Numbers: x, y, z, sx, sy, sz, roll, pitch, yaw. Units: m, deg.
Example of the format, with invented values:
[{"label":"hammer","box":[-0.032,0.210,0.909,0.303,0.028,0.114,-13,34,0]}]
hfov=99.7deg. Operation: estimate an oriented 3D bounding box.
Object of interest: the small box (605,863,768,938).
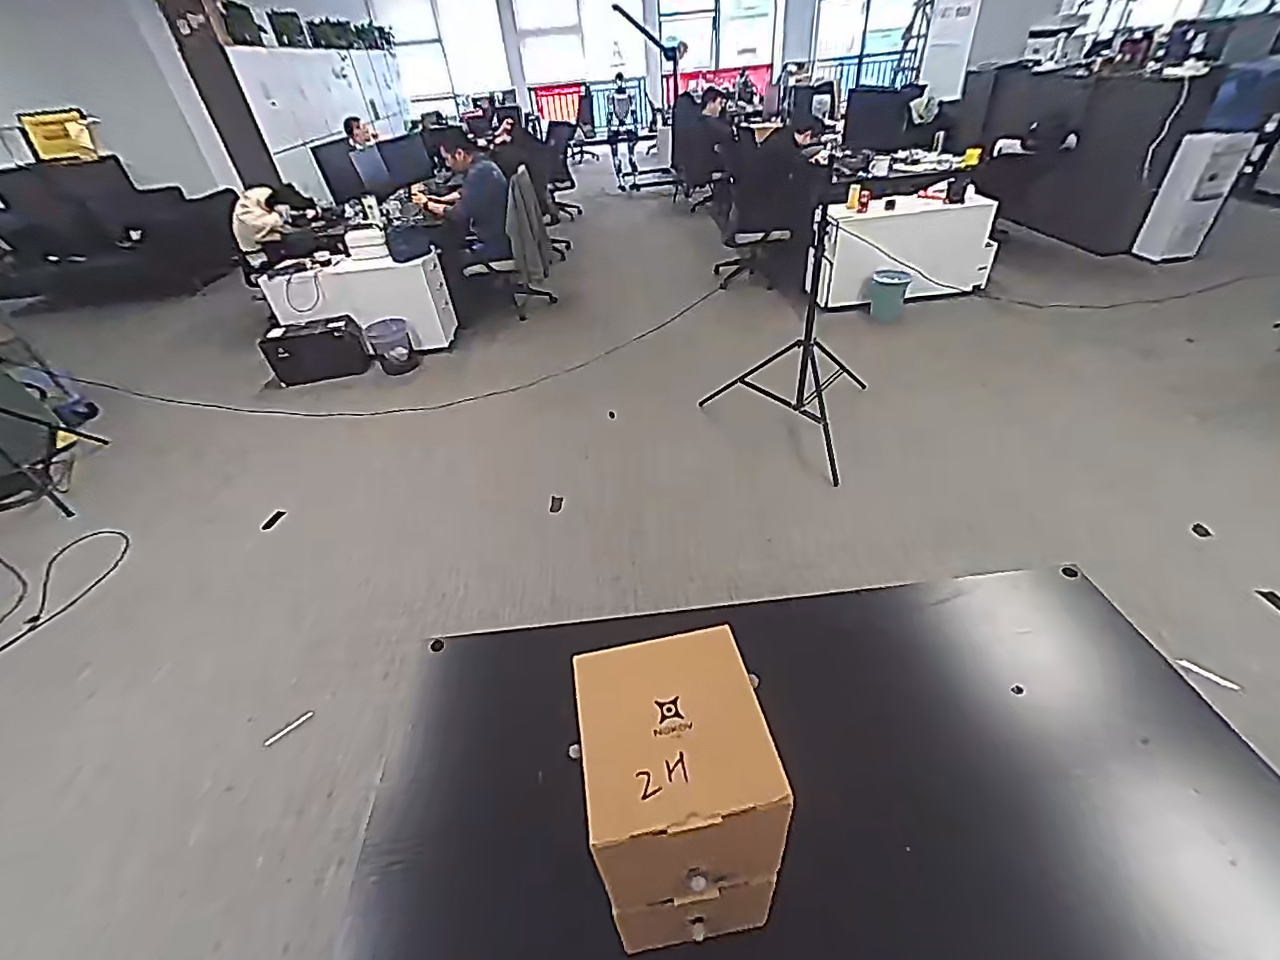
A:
[{"label":"small box","box":[0.046,0.413,0.645,0.168,0.176,0.179,-9,38,-4]}]

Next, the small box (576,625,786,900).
[{"label":"small box","box":[0.032,0.280,0.546,0.168,0.176,0.179,-10,38,-5]}]
